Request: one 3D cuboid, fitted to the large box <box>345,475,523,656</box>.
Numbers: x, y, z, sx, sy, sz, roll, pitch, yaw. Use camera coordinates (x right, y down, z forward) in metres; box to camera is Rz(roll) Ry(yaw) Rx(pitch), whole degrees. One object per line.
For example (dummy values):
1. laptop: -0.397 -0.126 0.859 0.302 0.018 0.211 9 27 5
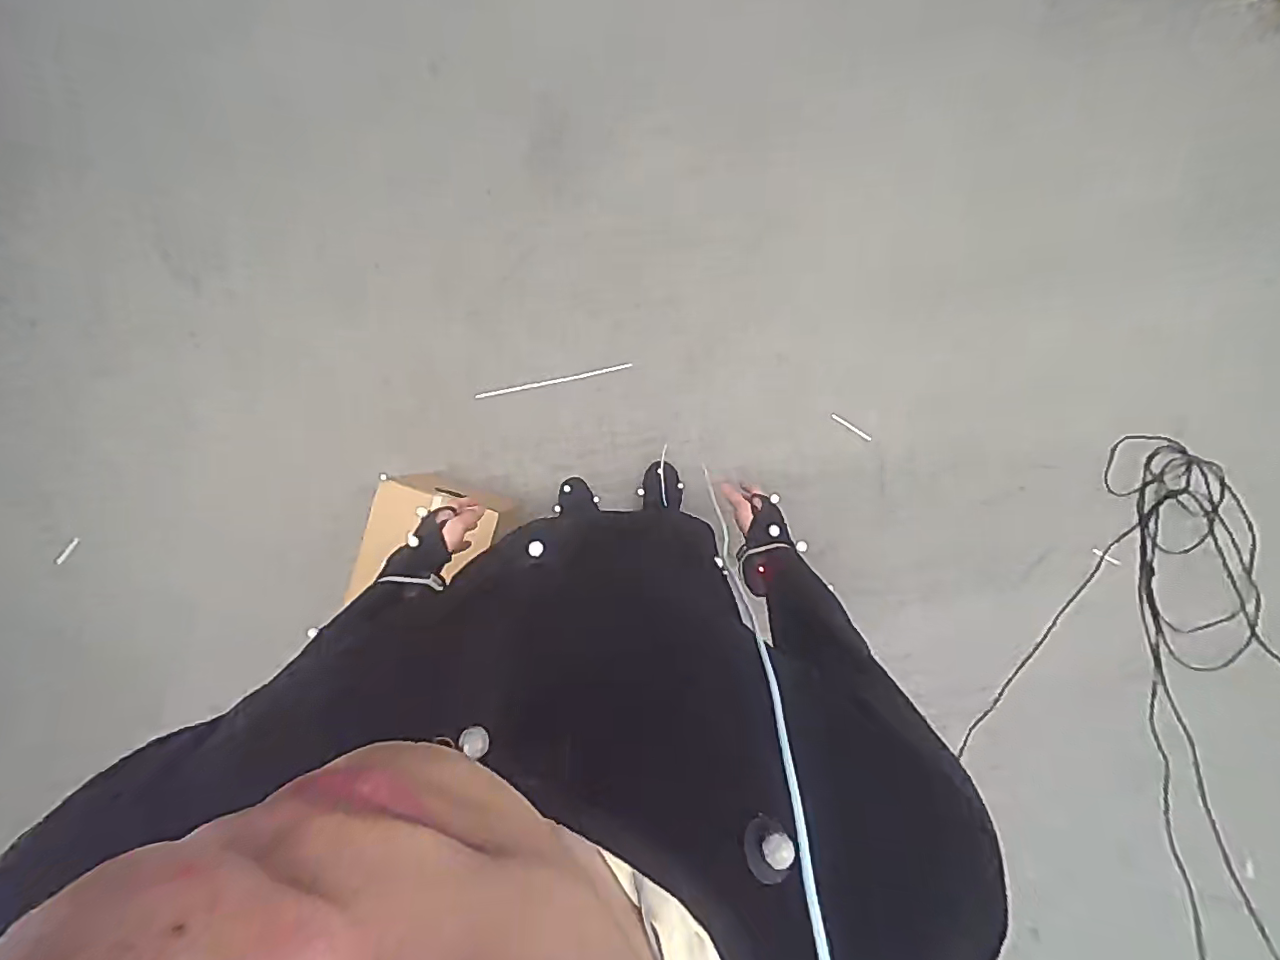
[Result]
1. large box: -0.554 0.217 1.516 0.320 0.320 0.408 16 92 -1
